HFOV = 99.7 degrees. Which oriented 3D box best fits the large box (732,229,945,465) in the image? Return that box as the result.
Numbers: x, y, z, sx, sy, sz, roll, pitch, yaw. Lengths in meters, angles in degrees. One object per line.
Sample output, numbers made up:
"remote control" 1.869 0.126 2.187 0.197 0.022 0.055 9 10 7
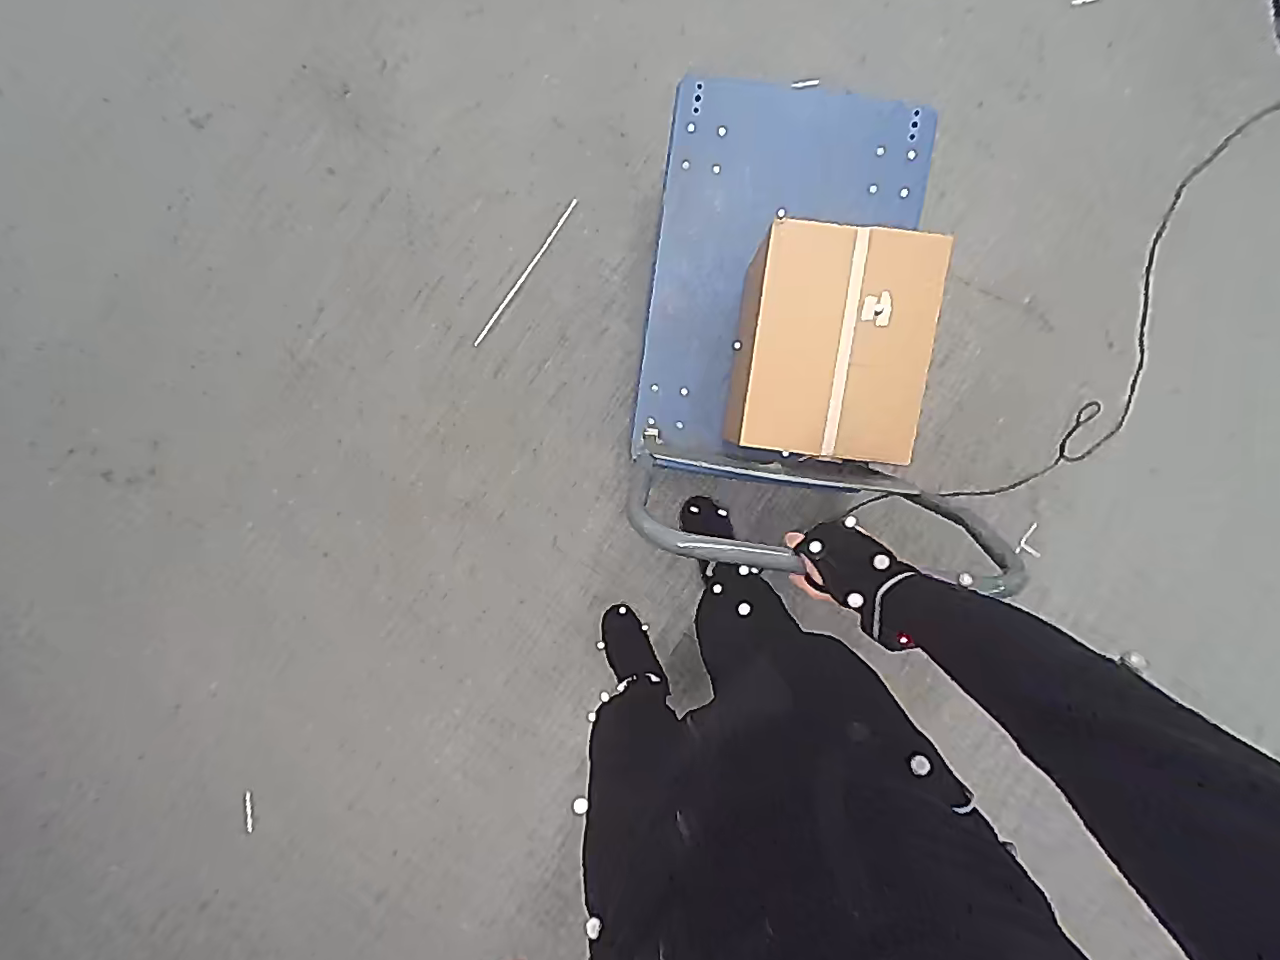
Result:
"large box" 0.376 -0.249 1.122 0.320 0.320 0.408 6 96 2
